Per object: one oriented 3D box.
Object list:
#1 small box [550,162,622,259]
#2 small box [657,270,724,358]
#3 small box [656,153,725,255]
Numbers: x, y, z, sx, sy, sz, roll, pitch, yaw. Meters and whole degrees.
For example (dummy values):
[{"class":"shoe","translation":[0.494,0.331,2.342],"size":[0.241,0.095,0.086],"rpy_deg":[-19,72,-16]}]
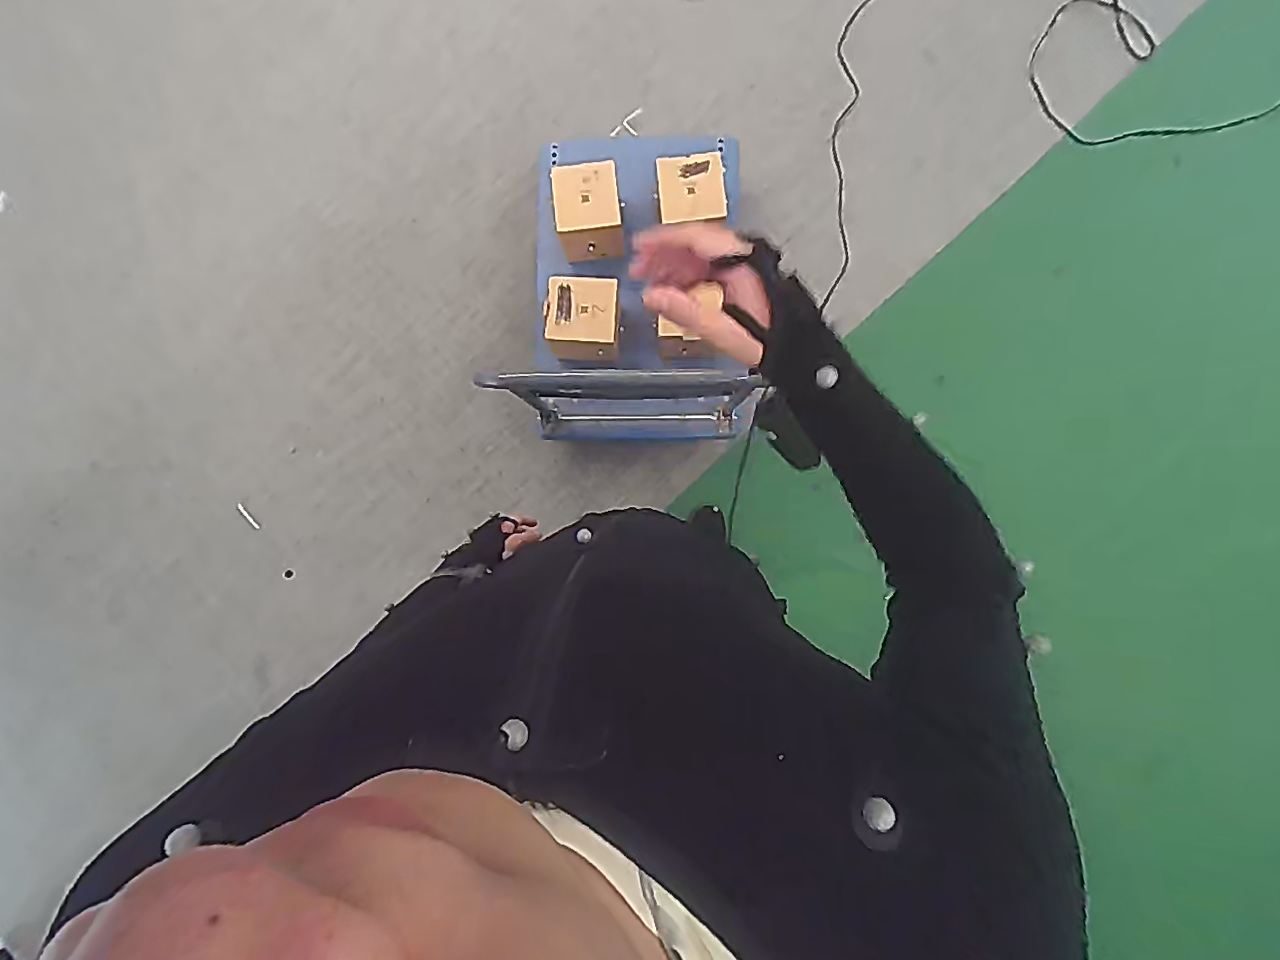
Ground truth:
[{"class":"small box","translation":[-0.139,-0.709,1.445],"size":[0.168,0.176,0.179],"rpy_deg":[-6,86,1]},{"class":"small box","translation":[0.128,-0.431,1.420],"size":[0.168,0.176,0.179],"rpy_deg":[-1,87,2]},{"class":"small box","translation":[0.129,-0.727,1.436],"size":[0.168,0.176,0.179],"rpy_deg":[-5,87,2]}]
